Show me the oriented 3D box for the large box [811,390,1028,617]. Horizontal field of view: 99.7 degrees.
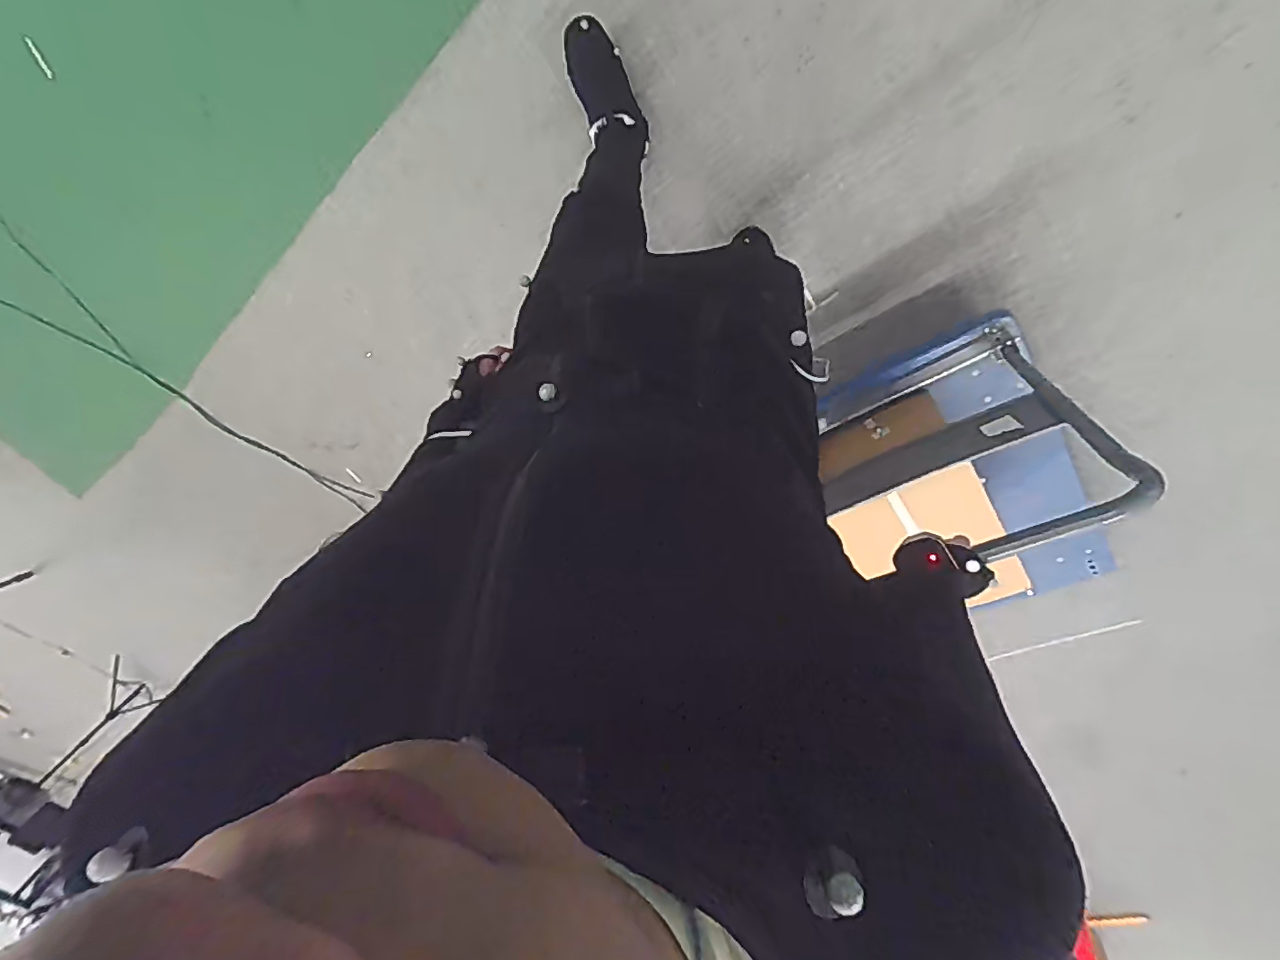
[{"bbox_3d":[0.669,0.059,1.342,0.320,0.320,0.408,-27,115,28],"label":"large box"}]
